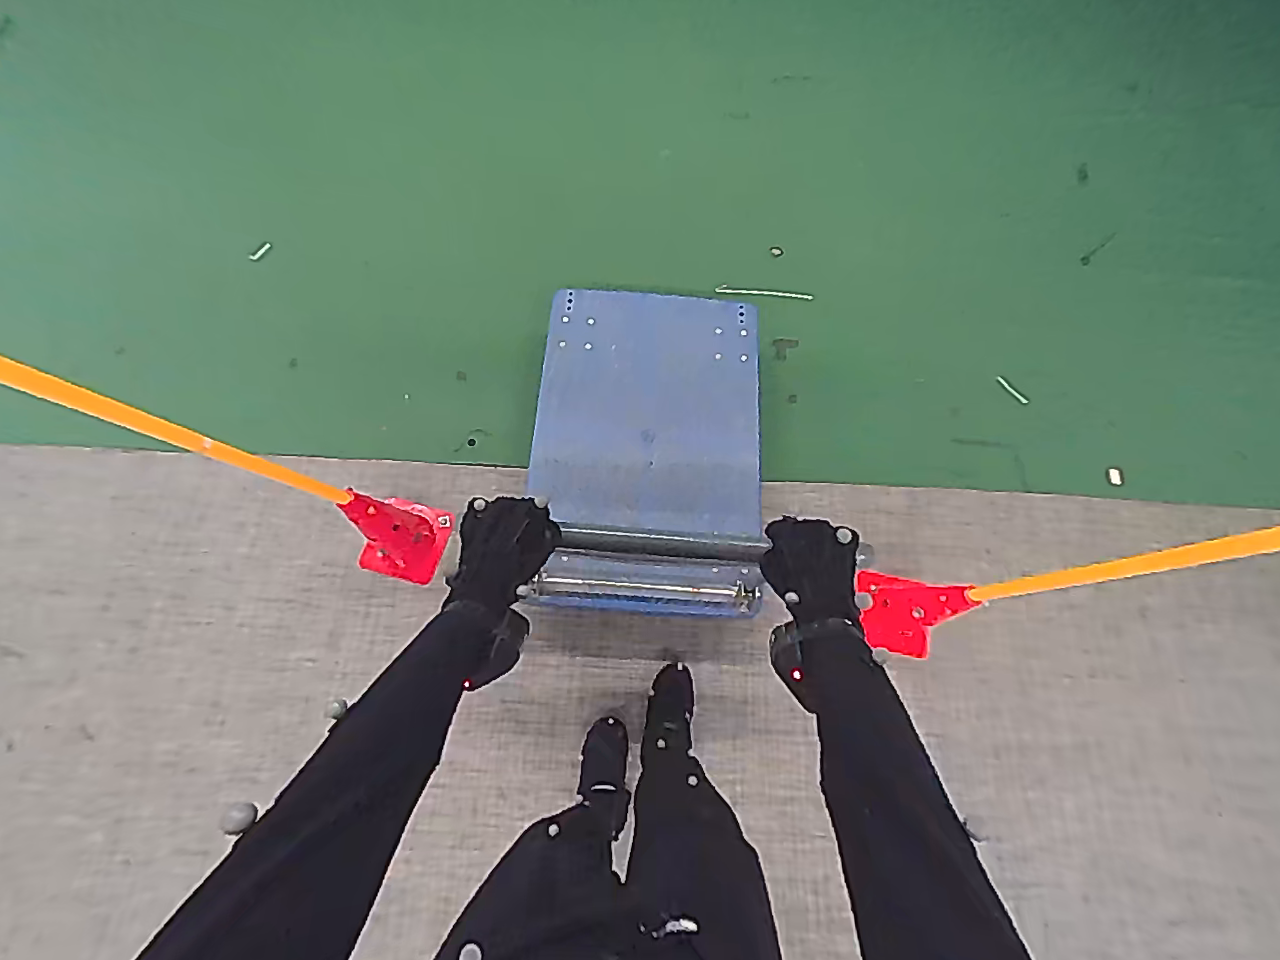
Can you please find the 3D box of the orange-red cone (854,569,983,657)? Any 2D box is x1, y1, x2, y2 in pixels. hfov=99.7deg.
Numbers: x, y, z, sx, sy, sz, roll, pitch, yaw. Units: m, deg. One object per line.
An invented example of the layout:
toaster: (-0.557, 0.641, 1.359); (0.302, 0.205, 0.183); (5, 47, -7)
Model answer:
orange-red cone: (0.668, 0.289, 1.251); (0.198, 0.360, 0.199); (13, 71, 3)
